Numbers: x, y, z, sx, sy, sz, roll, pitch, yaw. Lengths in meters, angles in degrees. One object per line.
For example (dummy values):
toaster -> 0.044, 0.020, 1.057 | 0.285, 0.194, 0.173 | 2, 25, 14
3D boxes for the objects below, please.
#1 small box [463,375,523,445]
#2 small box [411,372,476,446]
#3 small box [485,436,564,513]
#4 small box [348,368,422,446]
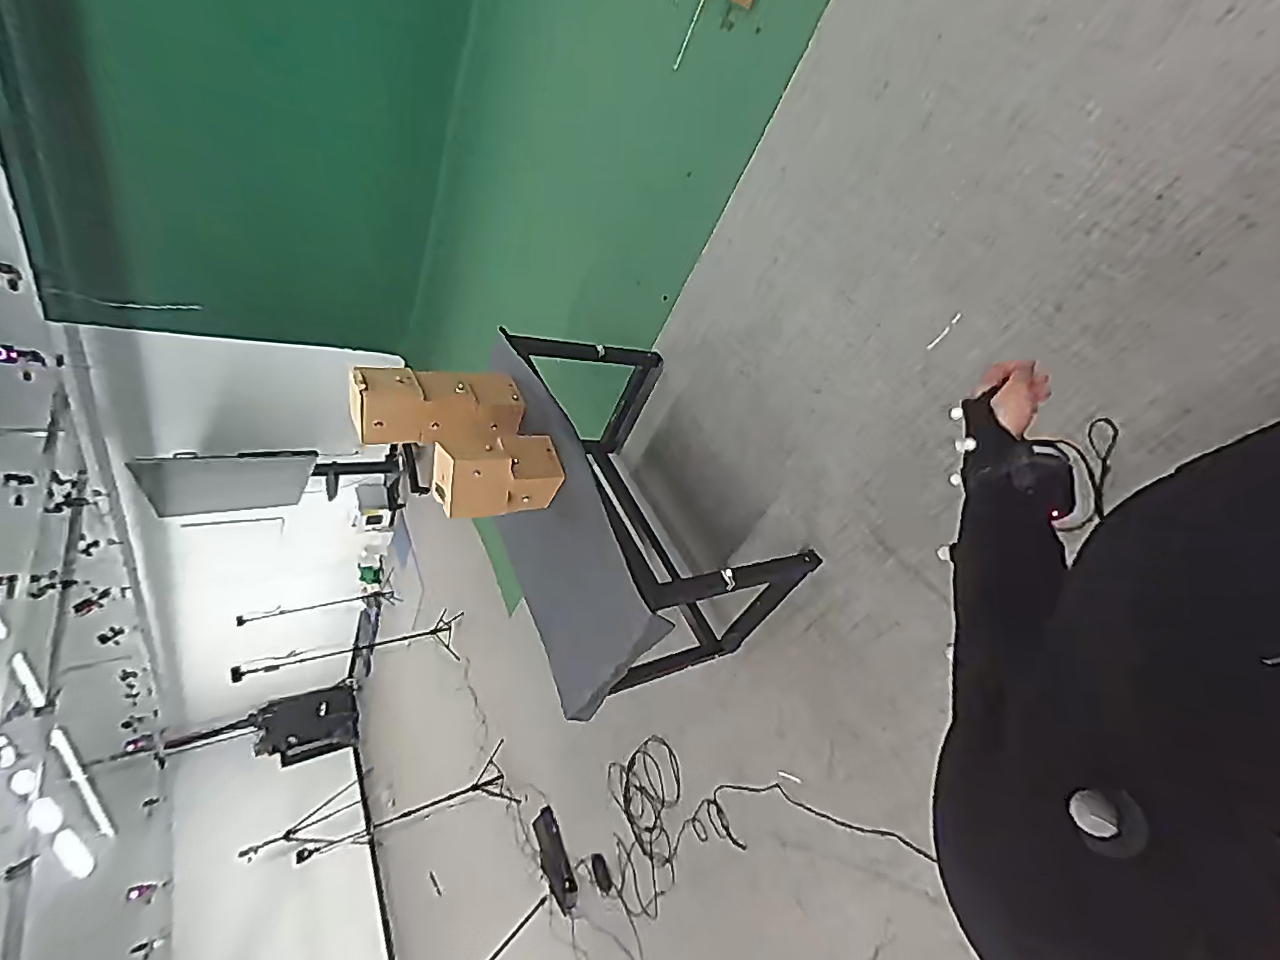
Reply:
small box -> -0.514, -0.238, 1.836 | 0.168, 0.176, 0.179 | 57, 136, 31
small box -> -0.641, -0.228, 1.736 | 0.168, 0.176, 0.179 | 53, 132, 33
small box -> -0.354, -0.017, 1.651 | 0.179, 0.176, 0.168 | -52, 54, 43
small box -> -0.771, -0.222, 1.633 | 0.168, 0.176, 0.179 | 50, 132, 35
